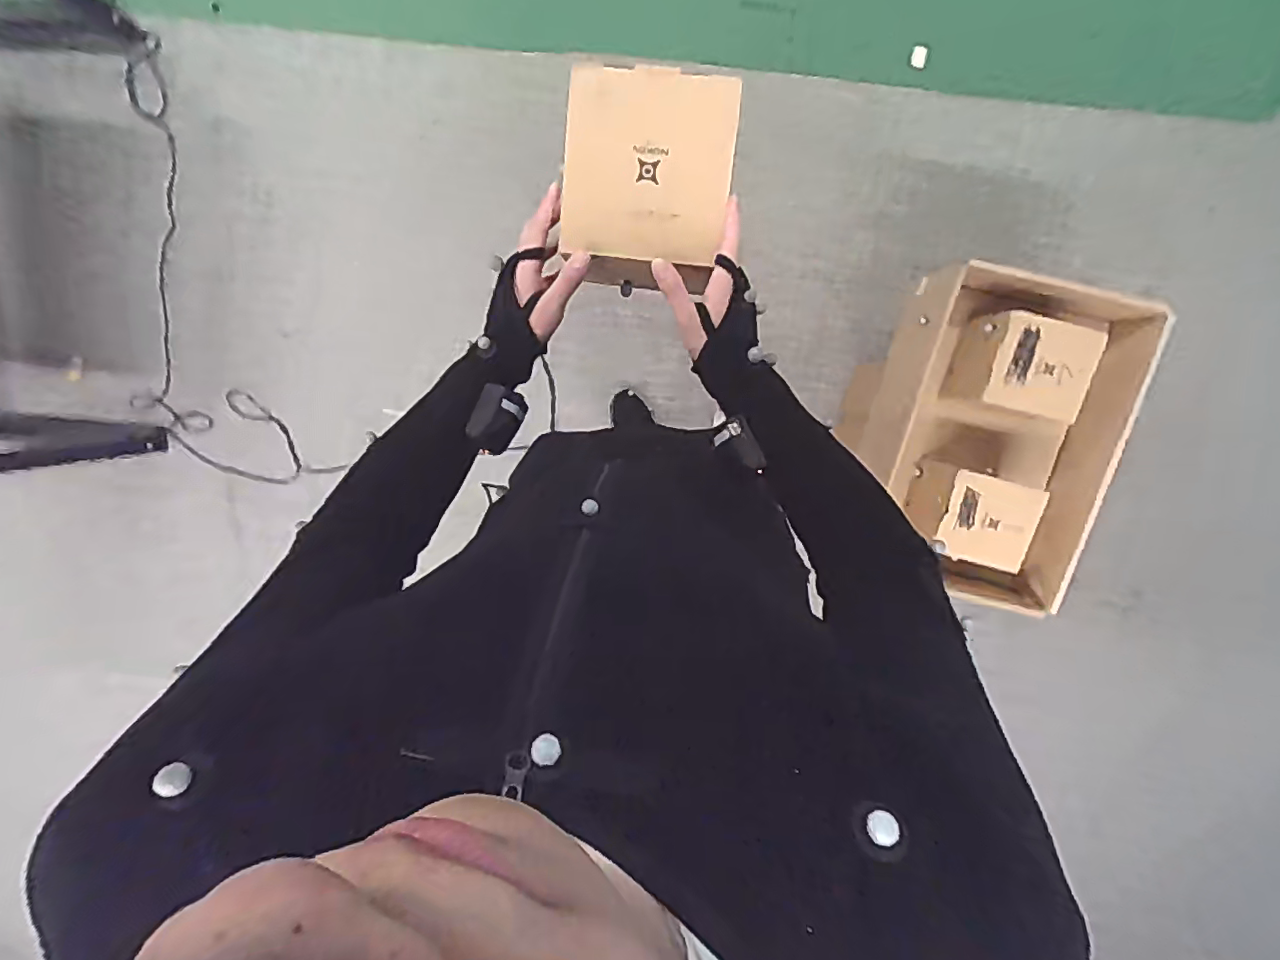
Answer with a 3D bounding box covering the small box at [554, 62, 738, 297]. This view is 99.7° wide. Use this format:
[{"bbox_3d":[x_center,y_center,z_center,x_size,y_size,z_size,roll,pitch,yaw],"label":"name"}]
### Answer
[{"bbox_3d":[0.005,-0.315,0.603,0.168,0.176,0.179,6,100,0],"label":"small box"}]
